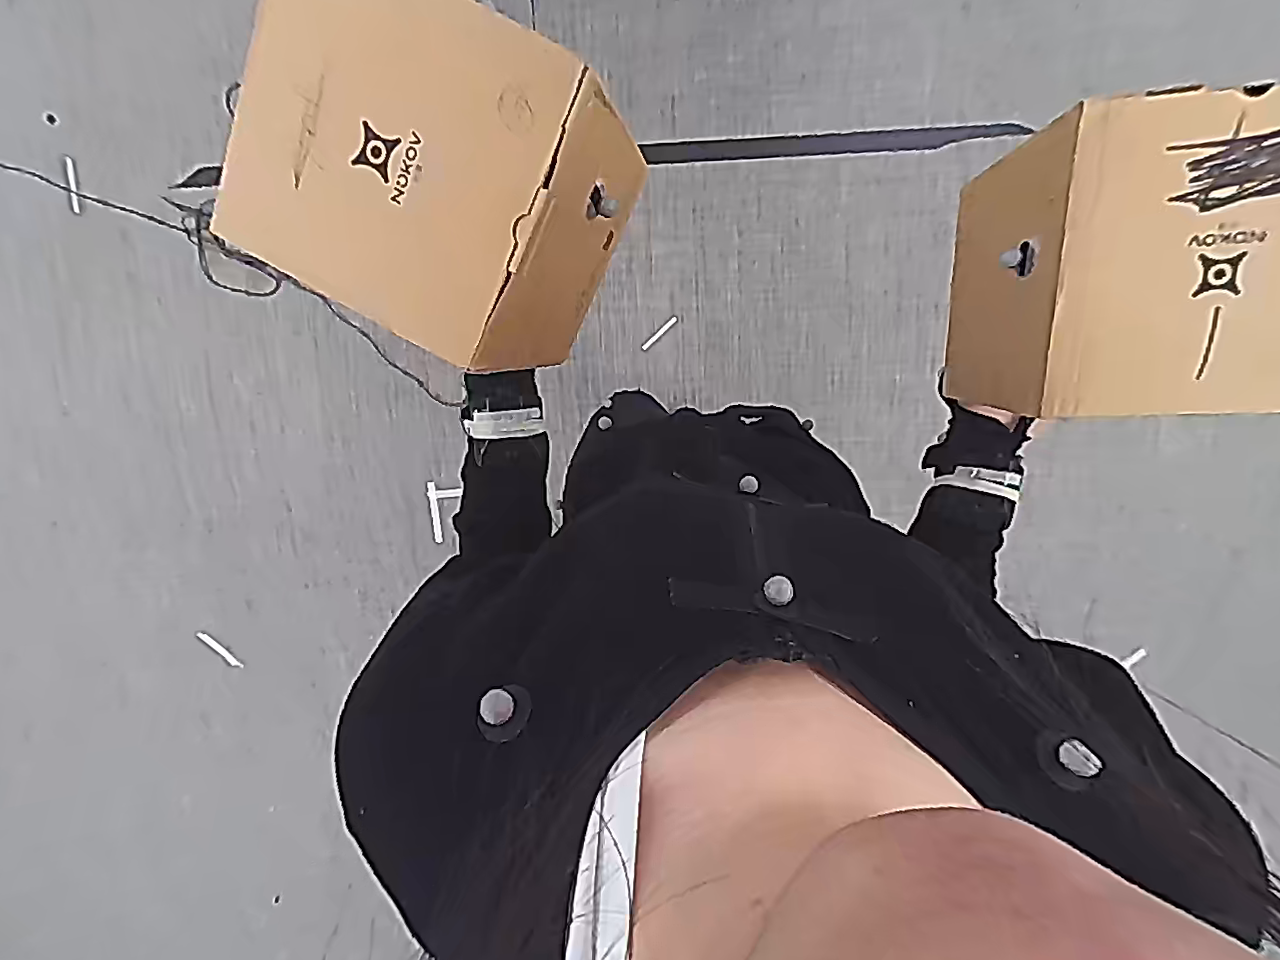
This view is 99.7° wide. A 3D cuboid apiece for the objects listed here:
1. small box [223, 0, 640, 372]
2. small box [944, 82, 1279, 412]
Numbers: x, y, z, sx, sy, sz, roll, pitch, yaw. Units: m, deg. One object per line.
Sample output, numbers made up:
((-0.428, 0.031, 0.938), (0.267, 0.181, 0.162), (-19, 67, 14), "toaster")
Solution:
((-0.117, -0.189, 0.363), (0.179, 0.176, 0.168), (28, 106, 3), "small box")
((0.336, -0.144, 0.382), (0.168, 0.176, 0.179), (0, 104, 10), "small box")
